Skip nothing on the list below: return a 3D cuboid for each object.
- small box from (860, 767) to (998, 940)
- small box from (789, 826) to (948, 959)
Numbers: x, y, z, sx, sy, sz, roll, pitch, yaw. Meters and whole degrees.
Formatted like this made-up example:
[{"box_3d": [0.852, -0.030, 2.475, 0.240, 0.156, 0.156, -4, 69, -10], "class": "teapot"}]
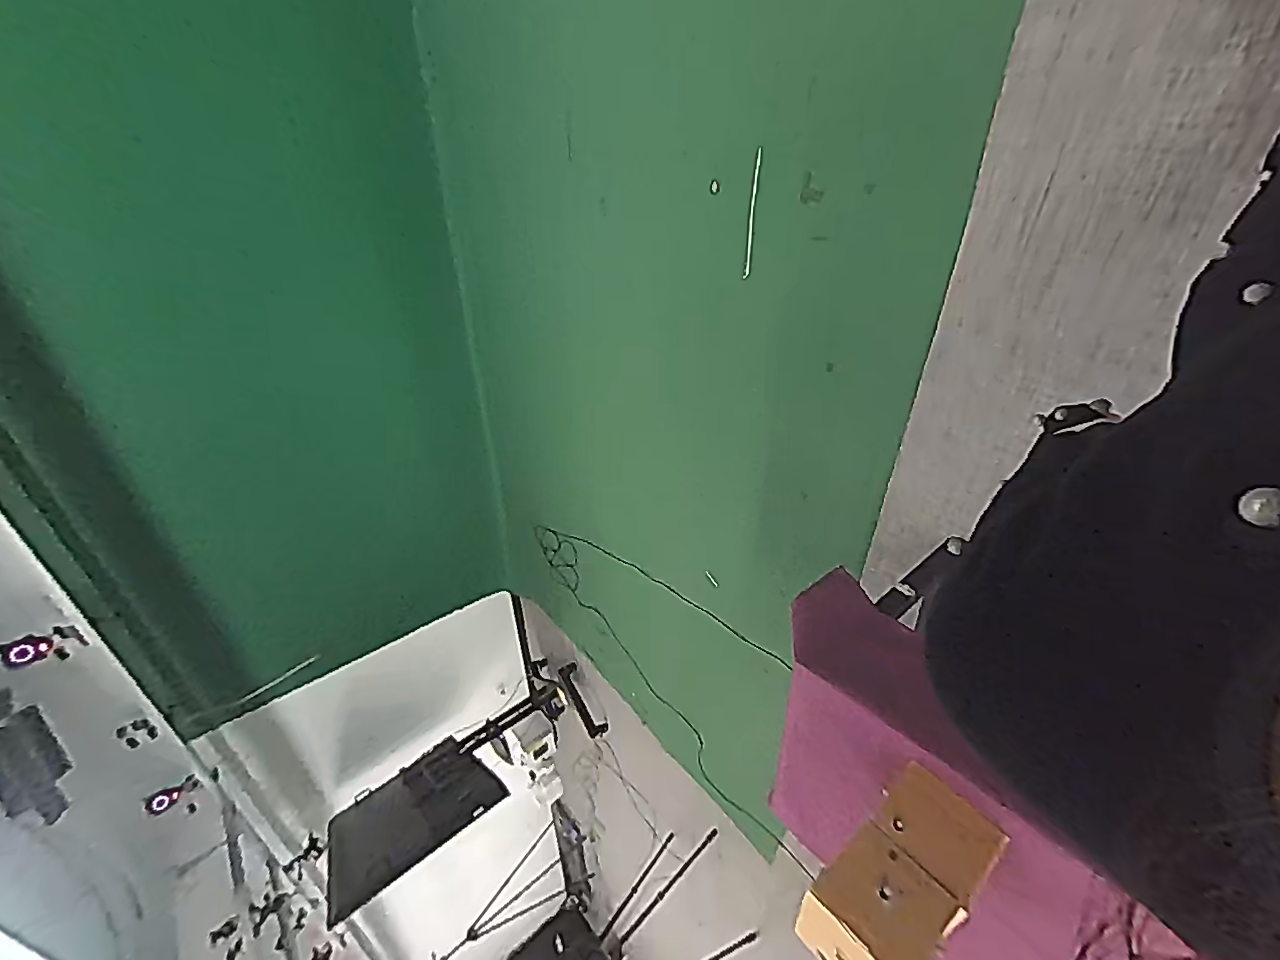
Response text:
[{"box_3d": [0.506, 0.672, 0.982, 0.179, 0.176, 0.168, 36, 137, 38], "class": "small box"}, {"box_3d": [0.377, 0.726, 0.895, 0.168, 0.176, 0.179, 33, 134, 41], "class": "small box"}]
